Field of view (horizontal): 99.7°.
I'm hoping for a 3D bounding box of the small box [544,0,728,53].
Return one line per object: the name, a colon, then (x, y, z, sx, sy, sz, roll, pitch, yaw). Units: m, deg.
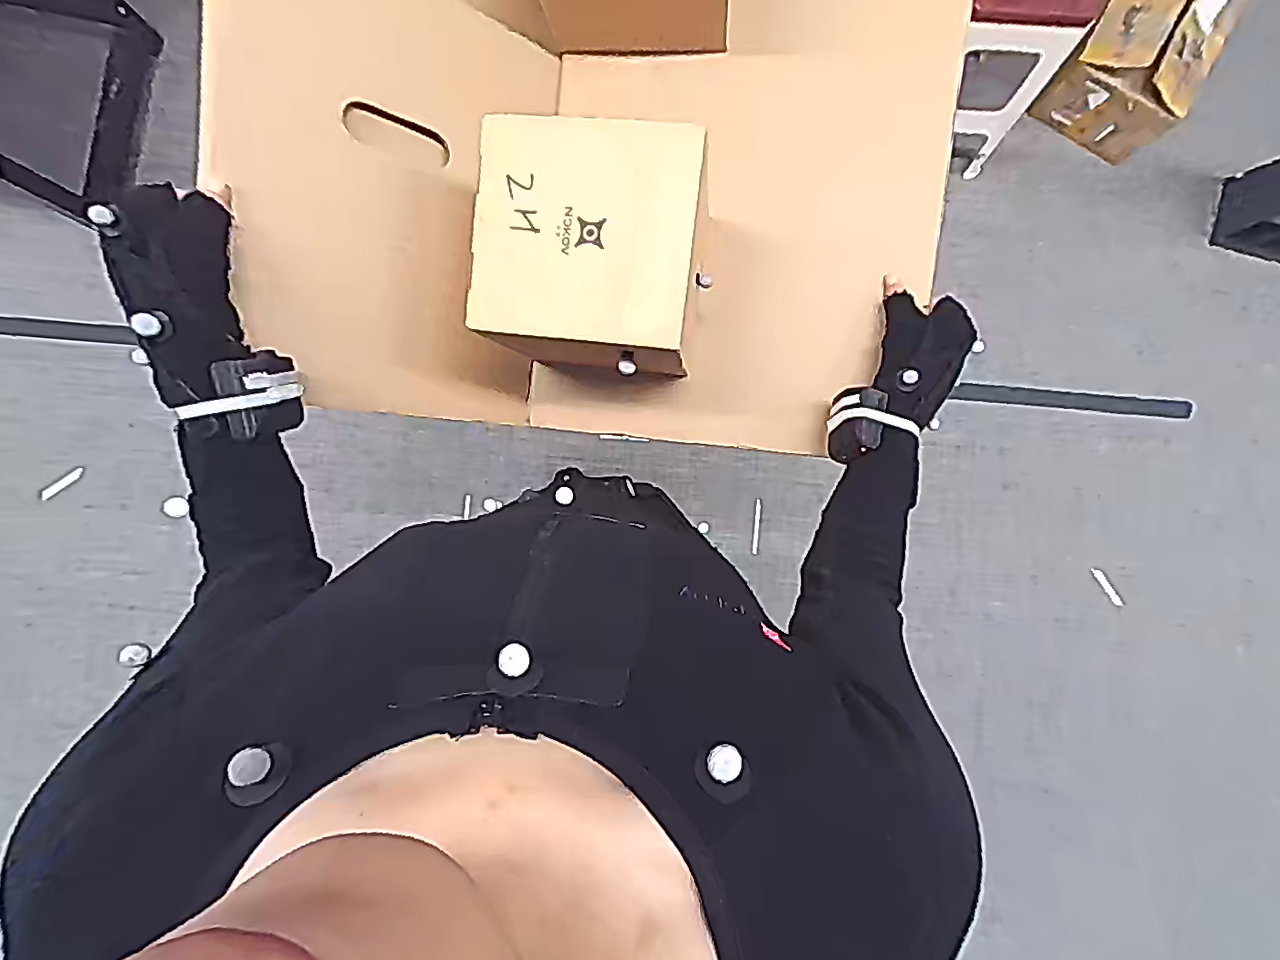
small box: (-0.005, -0.518, 0.477, 0.179, 0.176, 0.168, 5, 95, 7)
